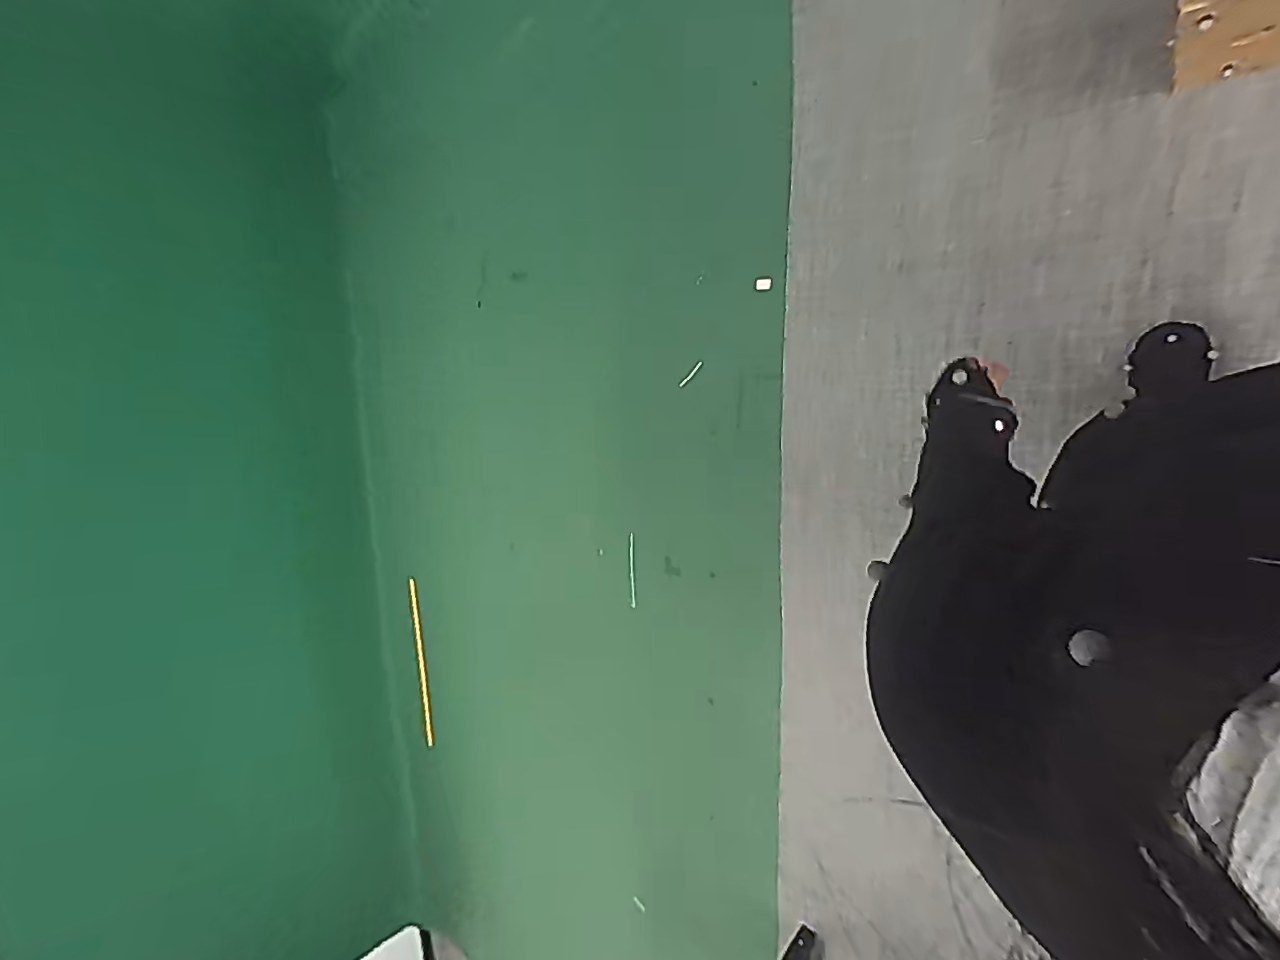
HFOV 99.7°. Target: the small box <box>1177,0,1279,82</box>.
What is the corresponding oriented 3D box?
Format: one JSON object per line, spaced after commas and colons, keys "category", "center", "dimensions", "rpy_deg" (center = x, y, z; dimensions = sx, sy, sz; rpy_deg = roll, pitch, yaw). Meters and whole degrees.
{"category": "small box", "center": [1.008, -0.805, 0.886], "dimensions": [0.168, 0.176, 0.179], "rpy_deg": [6, 104, 41]}
